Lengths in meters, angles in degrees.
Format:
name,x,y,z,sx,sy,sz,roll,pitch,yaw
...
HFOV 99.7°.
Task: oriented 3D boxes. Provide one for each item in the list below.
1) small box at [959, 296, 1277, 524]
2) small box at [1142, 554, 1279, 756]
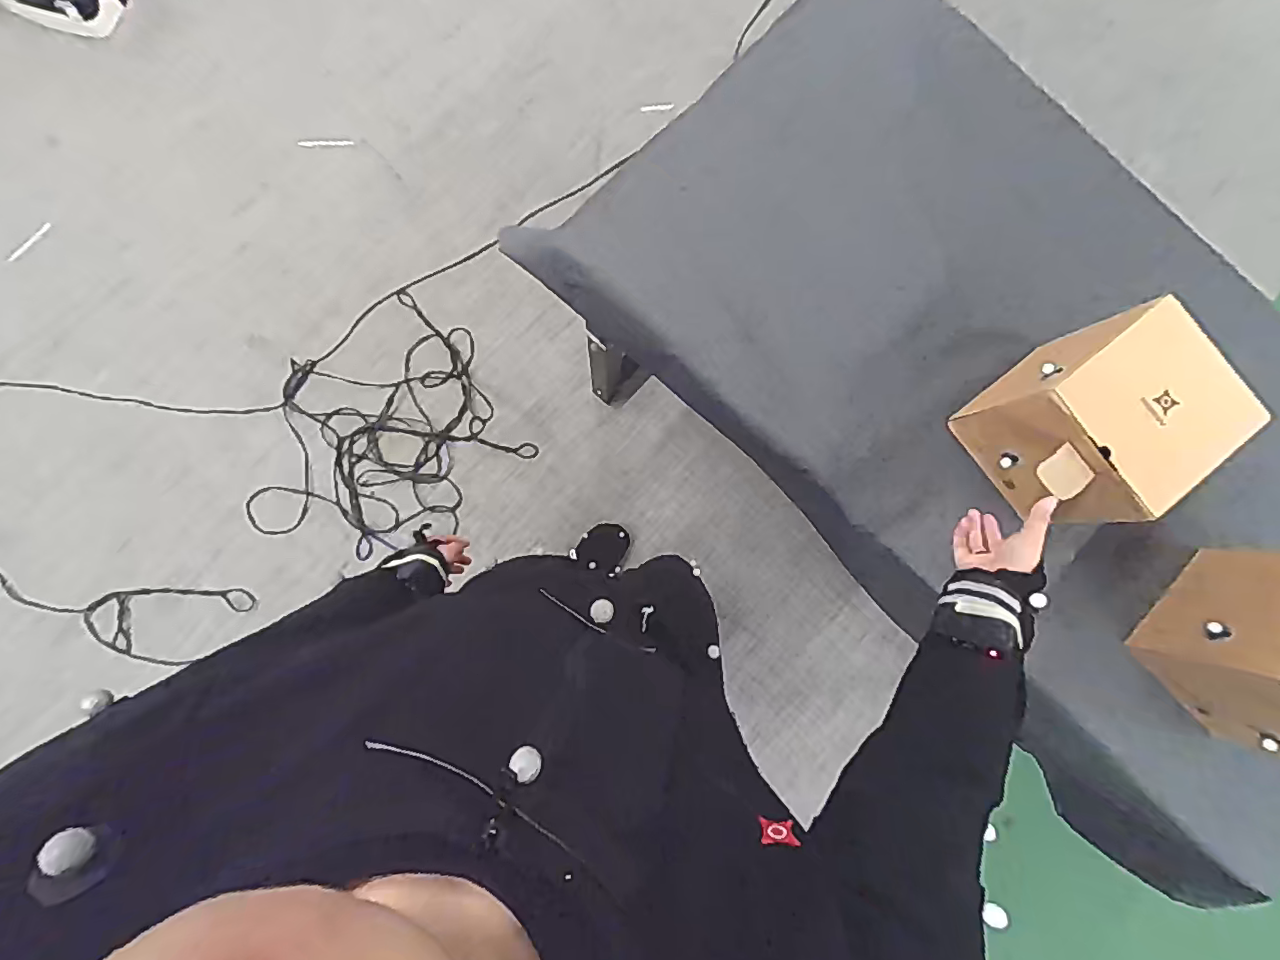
name,x,y,z,sx,sy,sz,roll,pitch,yaw
small box,0.517,-0.066,0.612,0.179,0.176,0.168,-38,89,-6
small box,0.729,0.200,0.602,0.168,0.176,0.179,44,82,0
